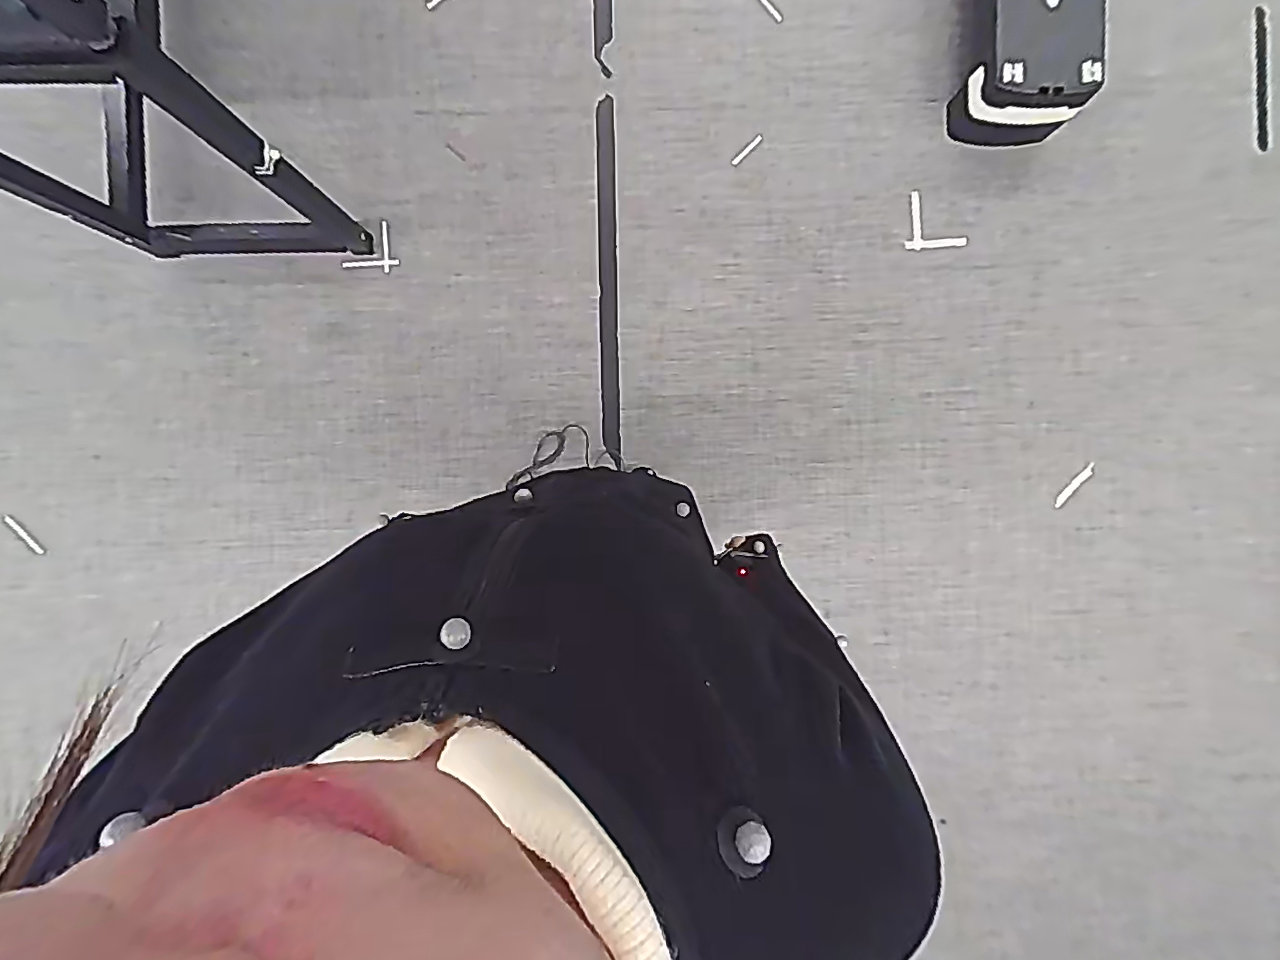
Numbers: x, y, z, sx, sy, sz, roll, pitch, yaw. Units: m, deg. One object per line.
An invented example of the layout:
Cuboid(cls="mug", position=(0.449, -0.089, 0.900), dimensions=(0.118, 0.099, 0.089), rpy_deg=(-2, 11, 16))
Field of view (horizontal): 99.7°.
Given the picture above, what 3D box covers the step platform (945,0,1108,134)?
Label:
Cuboid(cls="step platform", position=(0.996, -1.286, 1.374), dimensions=(0.286, 0.204, 0.684), rpy_deg=(4, 91, -1))
